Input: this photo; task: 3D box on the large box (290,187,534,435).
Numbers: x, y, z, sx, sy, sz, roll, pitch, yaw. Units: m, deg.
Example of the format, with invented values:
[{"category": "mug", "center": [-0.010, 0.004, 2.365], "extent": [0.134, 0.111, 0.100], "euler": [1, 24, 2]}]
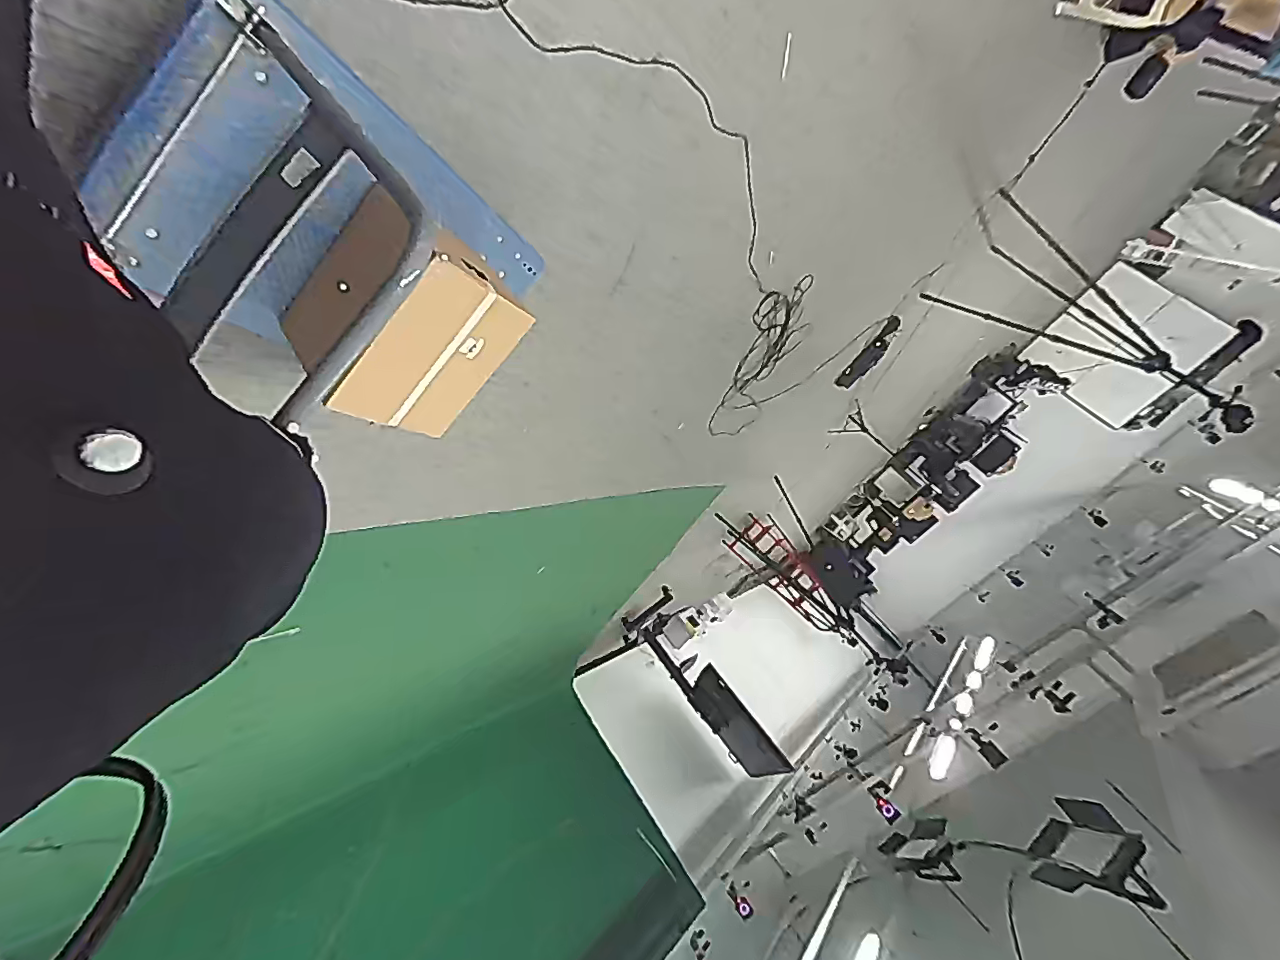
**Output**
[{"category": "large box", "center": [-0.540, -0.376, 1.280], "extent": [0.408, 0.320, 0.320], "euler": [-48, 155, 14]}]
